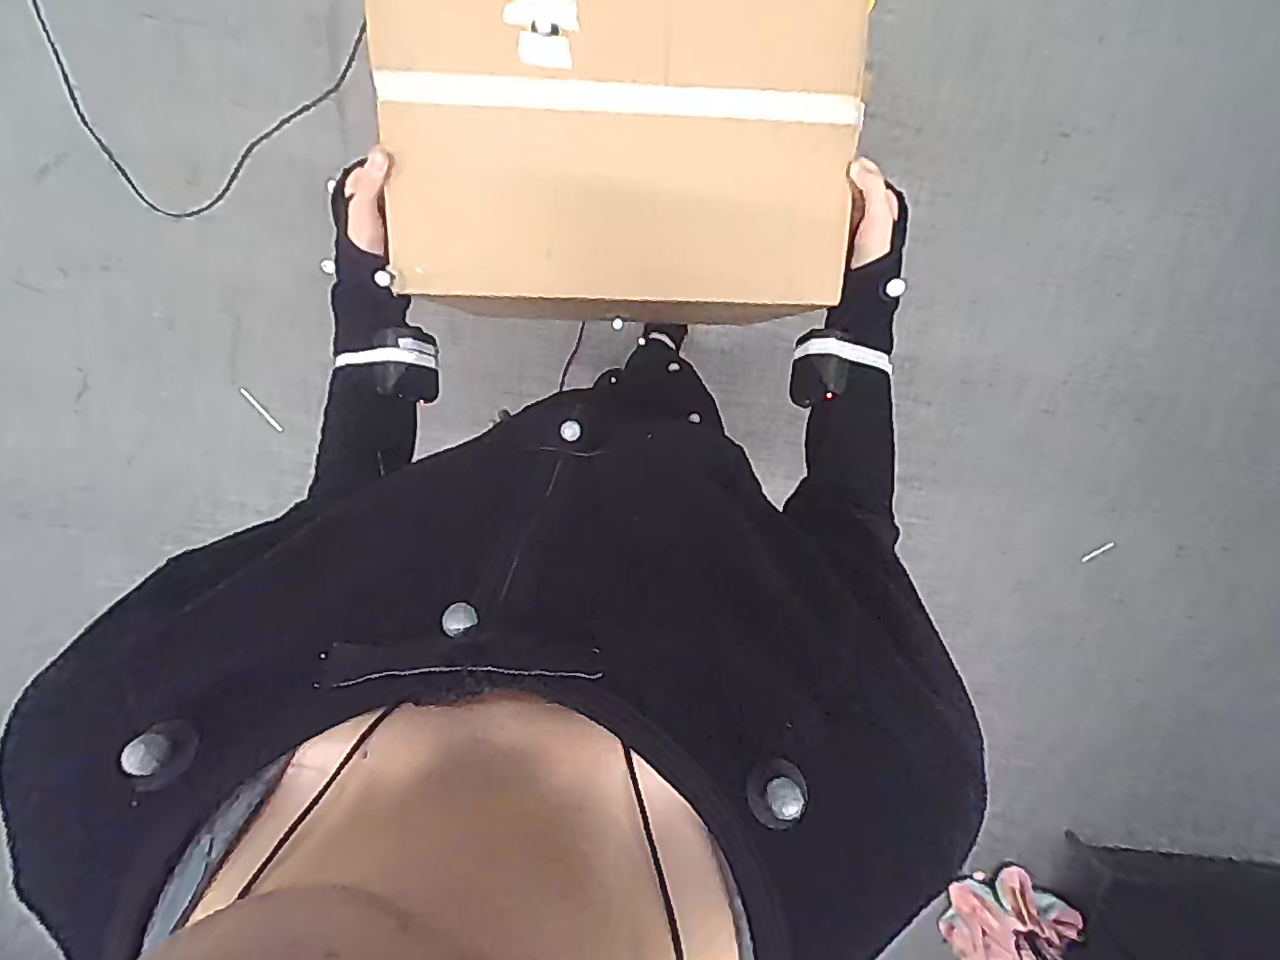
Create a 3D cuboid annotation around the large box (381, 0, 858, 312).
[{"bbox_3d":[-0.021,-0.357,0.610,0.408,0.320,0.320,0,103,-4],"label":"large box"}]
